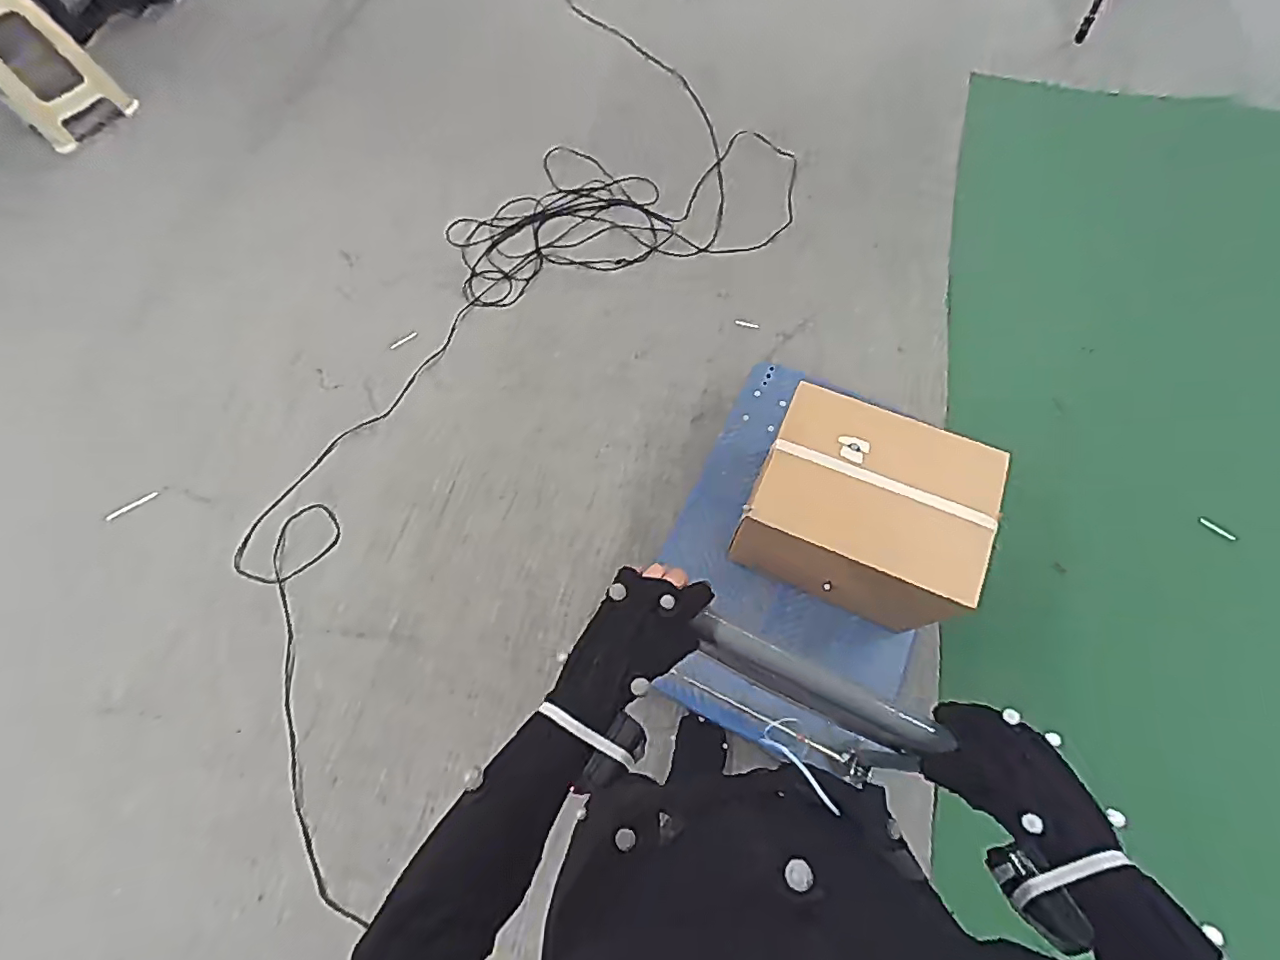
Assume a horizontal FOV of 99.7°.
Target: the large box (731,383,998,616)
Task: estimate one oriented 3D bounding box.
[{"bbox_3d":[0.441,0.055,1.137,0.408,0.320,0.320,21,70,11],"label":"large box"}]
